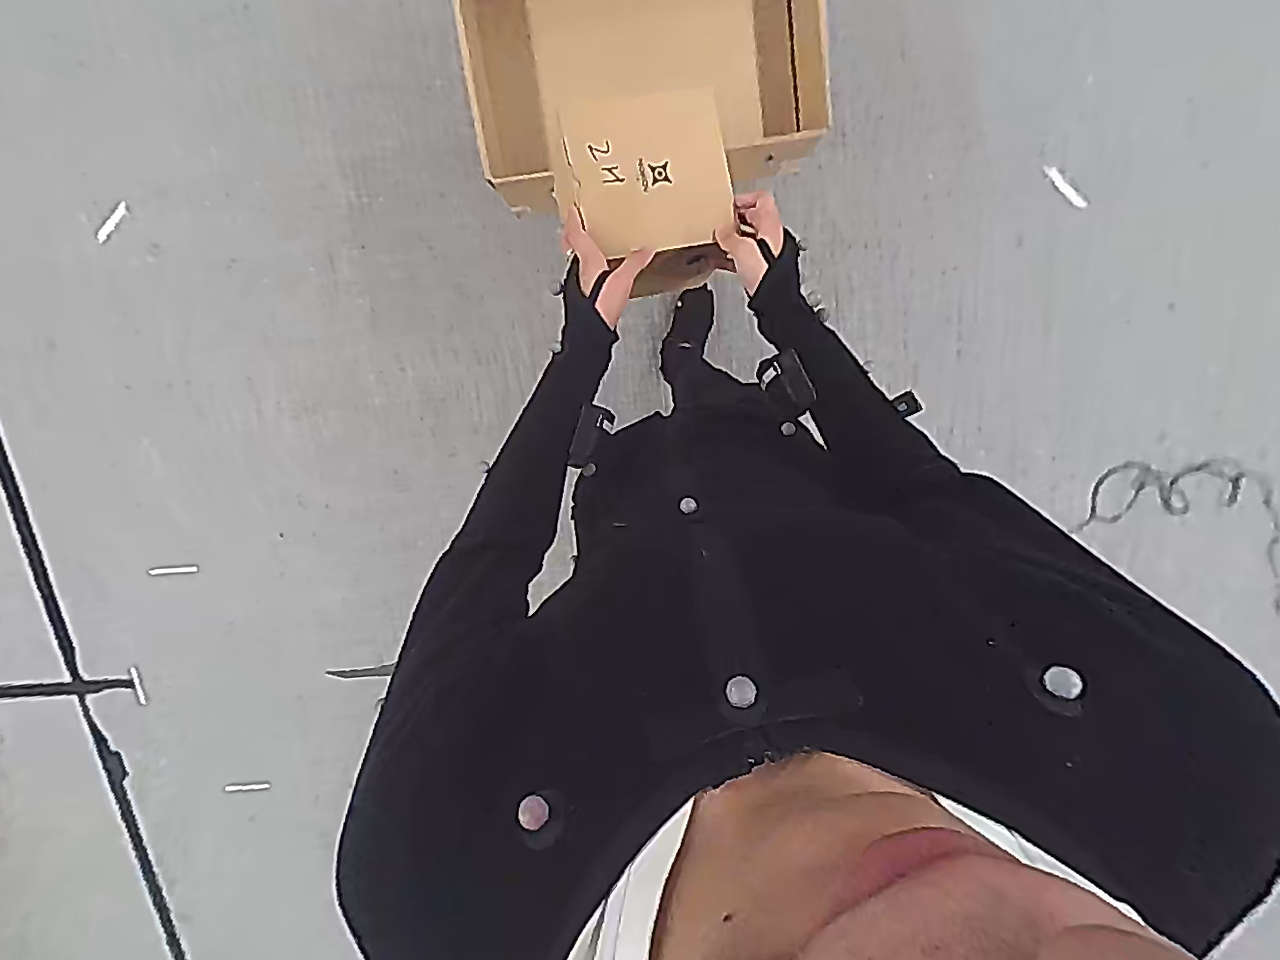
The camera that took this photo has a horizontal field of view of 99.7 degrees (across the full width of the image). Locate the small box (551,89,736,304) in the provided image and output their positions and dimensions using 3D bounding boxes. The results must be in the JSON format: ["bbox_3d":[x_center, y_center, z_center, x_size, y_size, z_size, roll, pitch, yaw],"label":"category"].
[{"bbox_3d":[-0.007,-0.329,0.657,0.179,0.176,0.168,-14,94,-9],"label":"small box"}]
